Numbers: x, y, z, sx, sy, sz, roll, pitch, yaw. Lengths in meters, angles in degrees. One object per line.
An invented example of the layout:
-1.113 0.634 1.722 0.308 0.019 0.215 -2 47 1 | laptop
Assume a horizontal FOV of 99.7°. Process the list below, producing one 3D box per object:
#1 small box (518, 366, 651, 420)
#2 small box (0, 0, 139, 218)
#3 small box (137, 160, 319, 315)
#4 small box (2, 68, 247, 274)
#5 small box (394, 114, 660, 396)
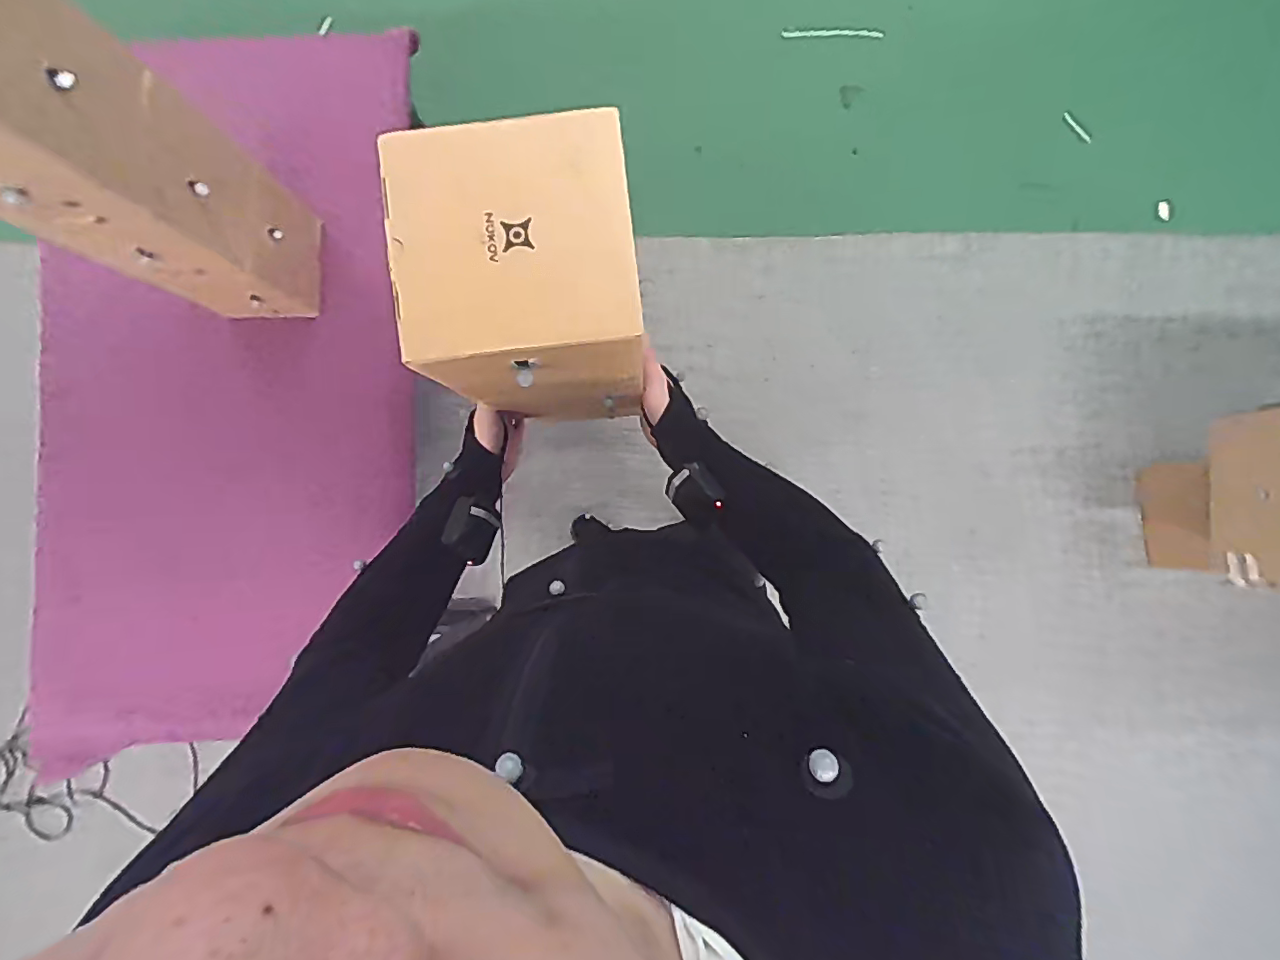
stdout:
-0.078 -0.182 0.789 0.179 0.176 0.168 -5 90 1 | small box
-0.638 -0.381 0.523 0.168 0.176 0.179 -2 89 0 | small box
-0.634 -0.369 0.851 0.168 0.176 0.179 0 88 0 | small box
-0.636 -0.375 0.688 0.168 0.176 0.179 -1 89 -1 | small box
-0.080 -0.171 0.462 0.179 0.176 0.168 -6 90 1 | small box
